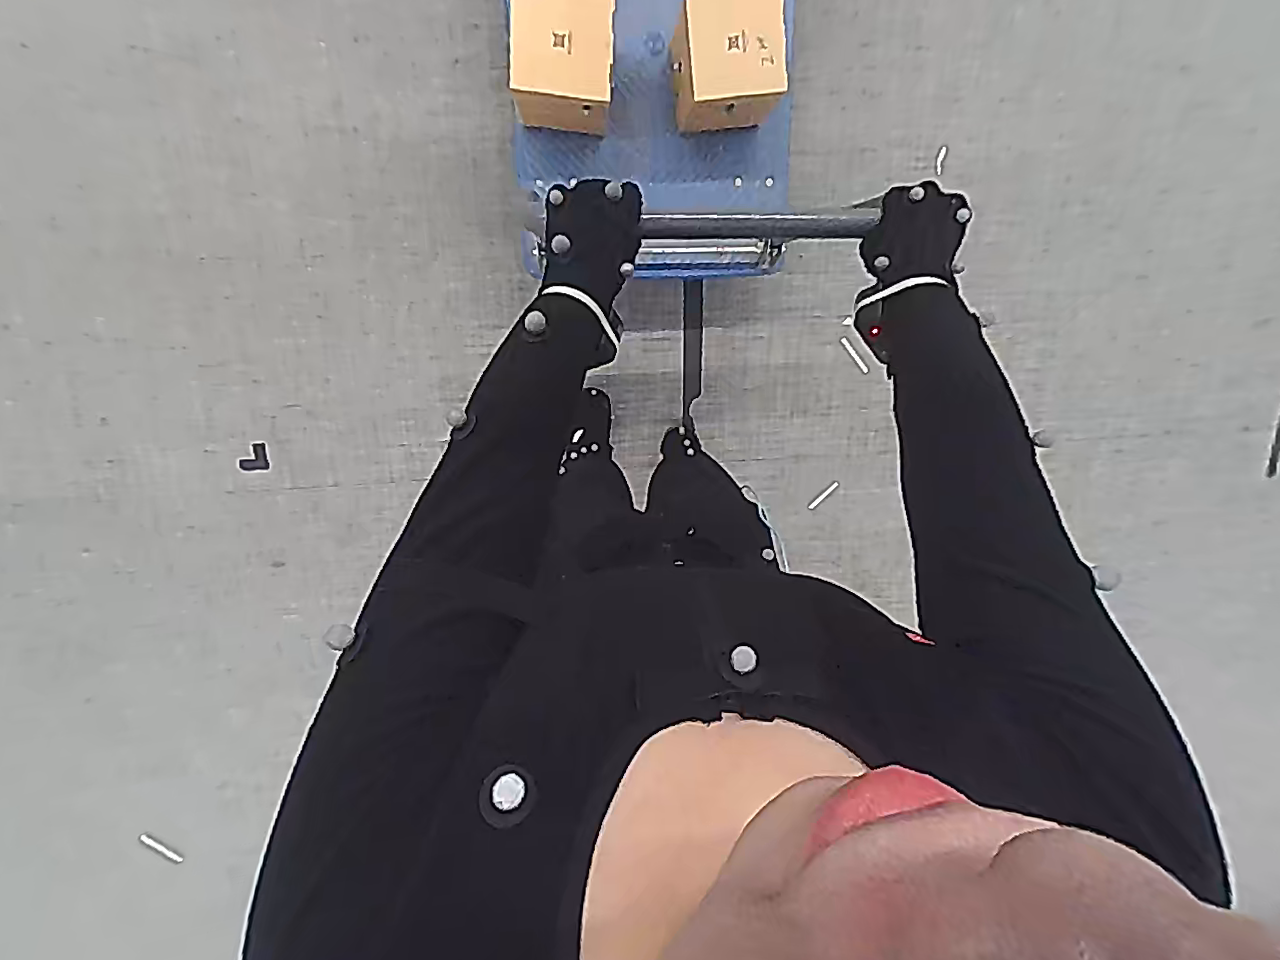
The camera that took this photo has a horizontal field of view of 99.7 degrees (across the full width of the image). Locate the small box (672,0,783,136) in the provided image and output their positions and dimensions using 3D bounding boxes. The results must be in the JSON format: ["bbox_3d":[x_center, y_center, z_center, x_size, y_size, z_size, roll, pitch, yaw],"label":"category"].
[{"bbox_3d":[0.159,-0.783,1.035,0.179,0.176,0.168,-8,106,-4],"label":"small box"}]

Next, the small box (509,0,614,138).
[{"bbox_3d":[-0.146,-0.763,1.007,0.179,0.176,0.168,2,105,-8],"label":"small box"}]
